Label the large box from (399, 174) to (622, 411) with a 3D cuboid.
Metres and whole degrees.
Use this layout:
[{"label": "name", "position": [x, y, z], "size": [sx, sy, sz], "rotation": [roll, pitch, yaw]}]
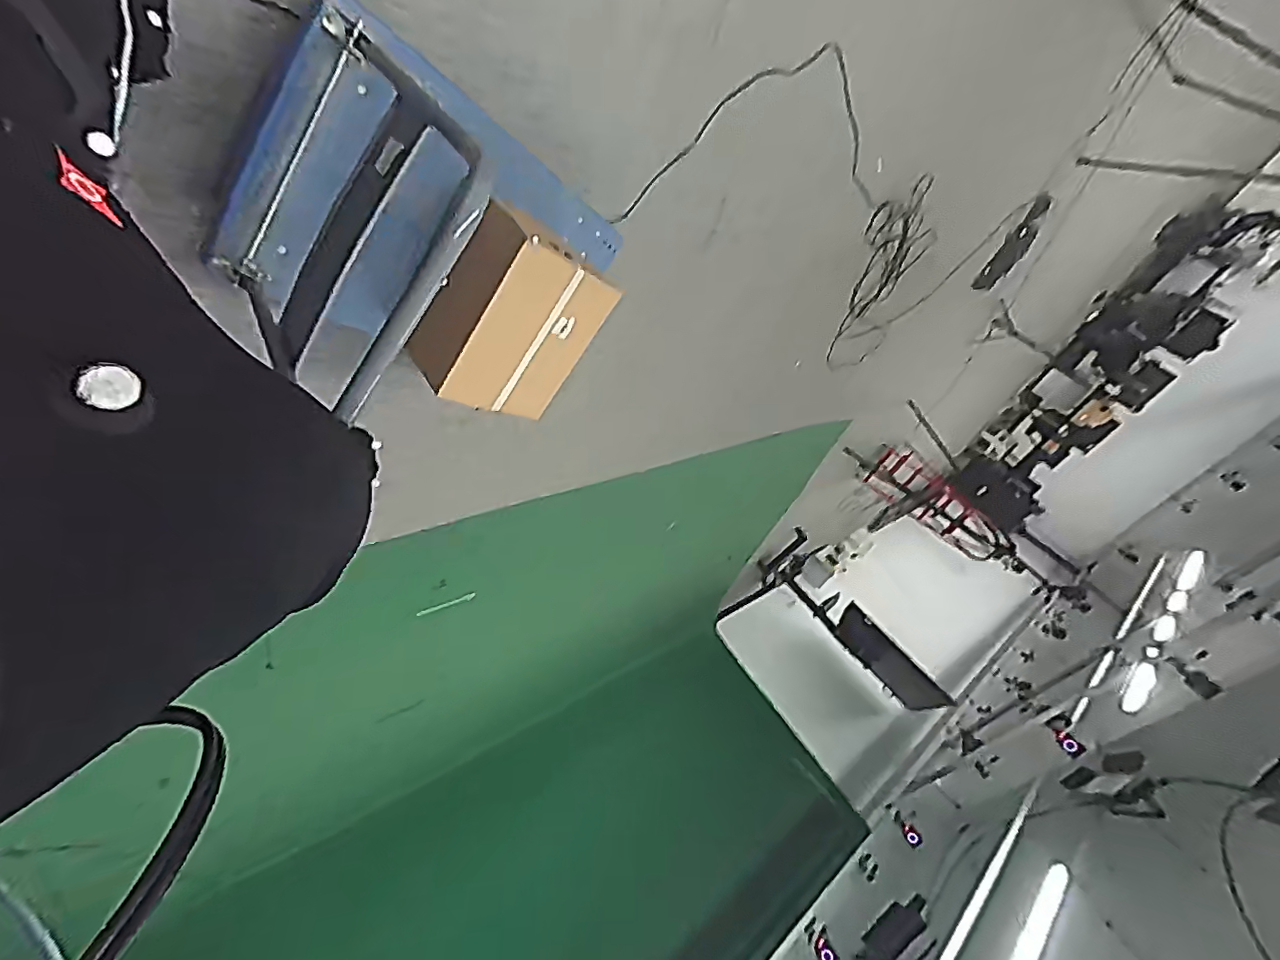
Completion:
[{"label": "large box", "position": [-0.327, -0.437, 1.331], "size": [0.320, 0.320, 0.408], "rotation": [6, 127, -54]}]
